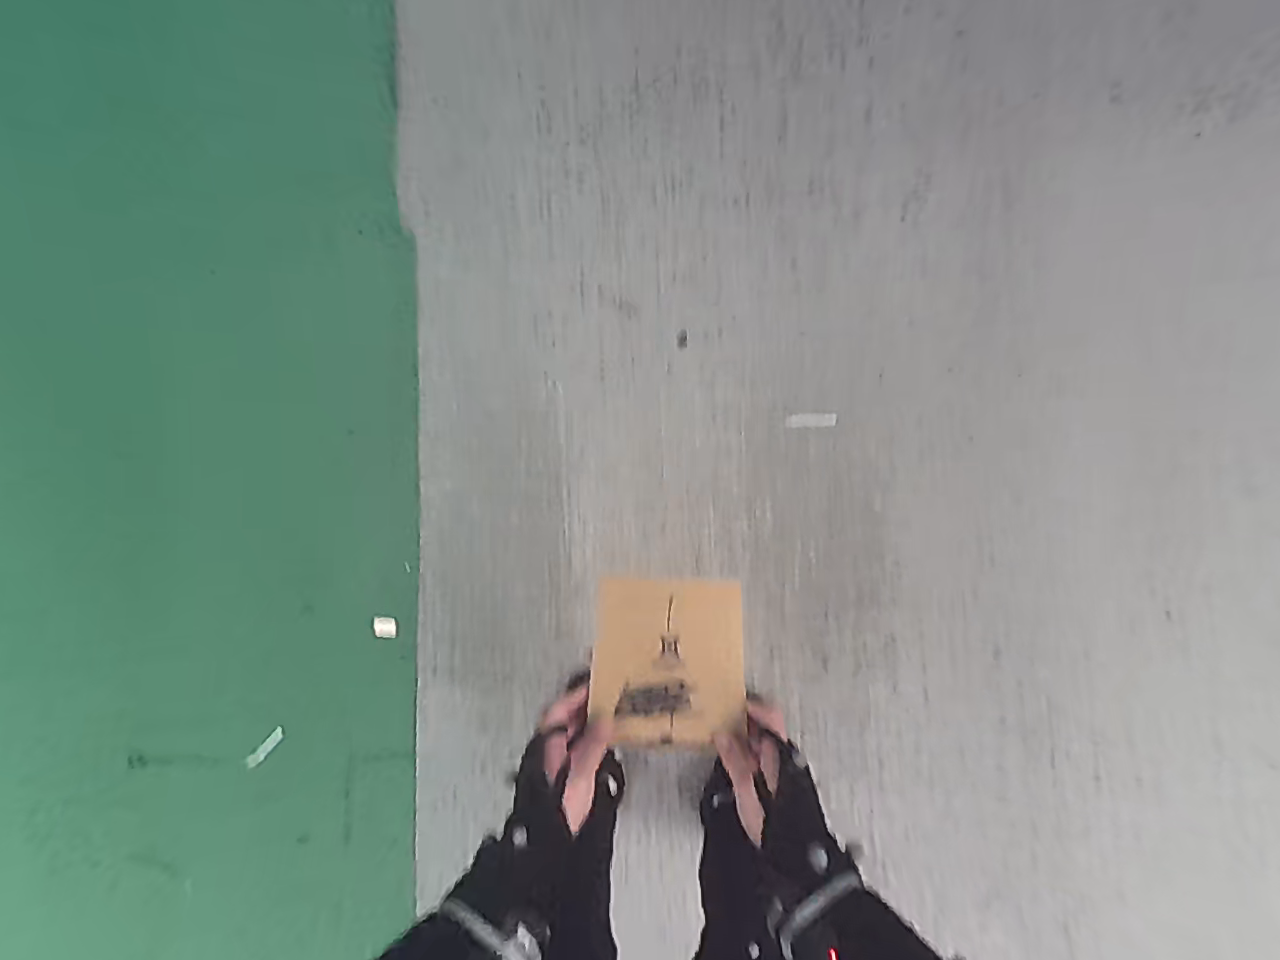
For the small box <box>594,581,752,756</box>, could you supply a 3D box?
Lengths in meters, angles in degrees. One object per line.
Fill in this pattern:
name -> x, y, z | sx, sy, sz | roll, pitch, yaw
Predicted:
small box -> 0.038, 0.235, 0.659 | 0.168, 0.176, 0.179 | 3, 62, 0
